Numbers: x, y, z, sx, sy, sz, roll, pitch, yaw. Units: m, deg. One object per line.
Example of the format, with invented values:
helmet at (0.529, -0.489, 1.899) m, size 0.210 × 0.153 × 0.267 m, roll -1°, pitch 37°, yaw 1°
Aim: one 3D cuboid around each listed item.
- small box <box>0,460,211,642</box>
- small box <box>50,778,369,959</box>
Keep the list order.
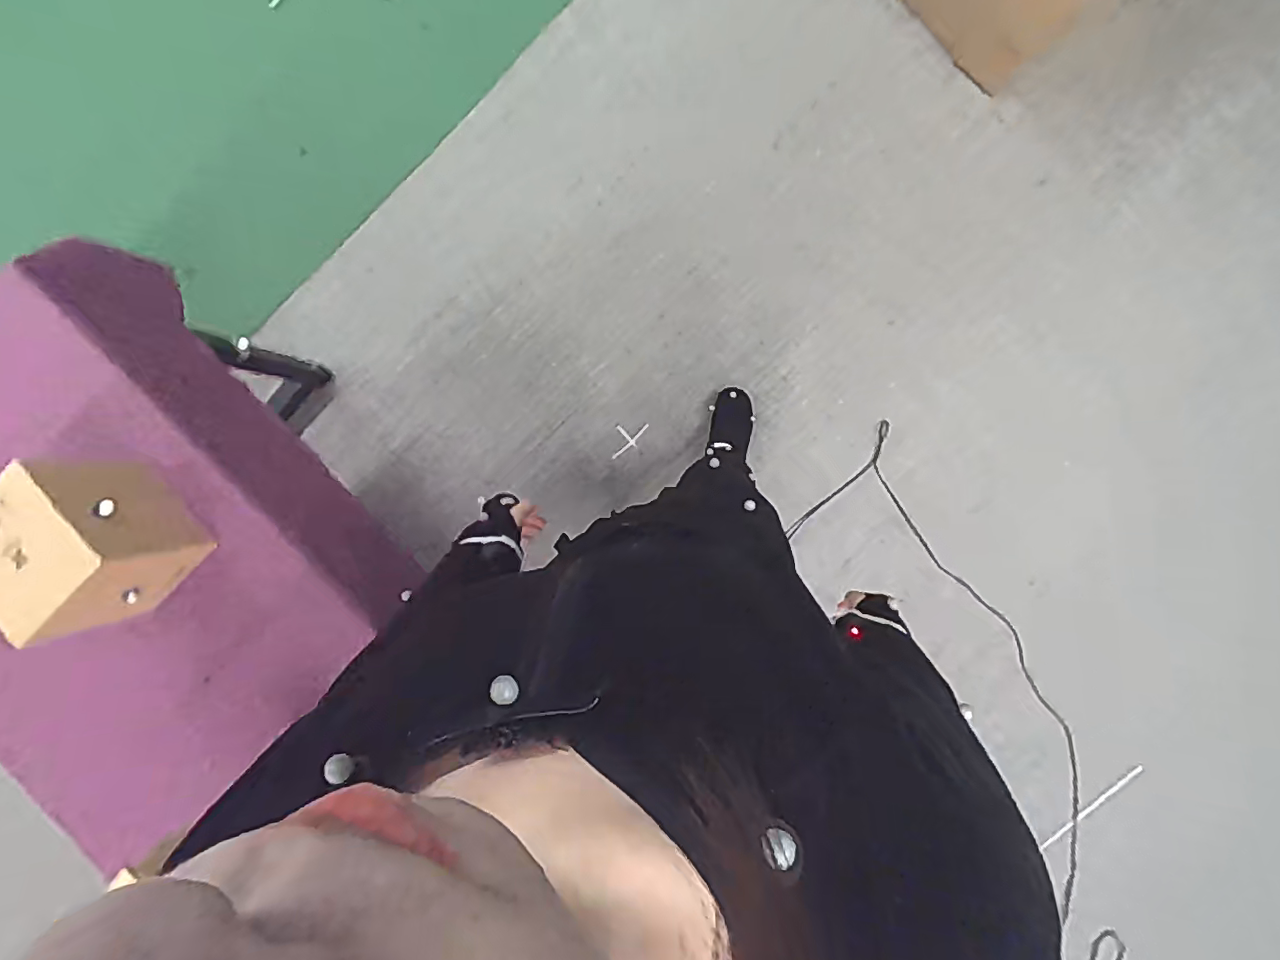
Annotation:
small box at (-0.766, 0.086, 0.755) m, size 0.168 × 0.176 × 0.179 m, roll -42°, pitch 88°, yaw 5°
small box at (-0.439, 0.457, 0.572) m, size 0.179 × 0.176 × 0.168 m, roll 40°, pitch 95°, yaw 2°
